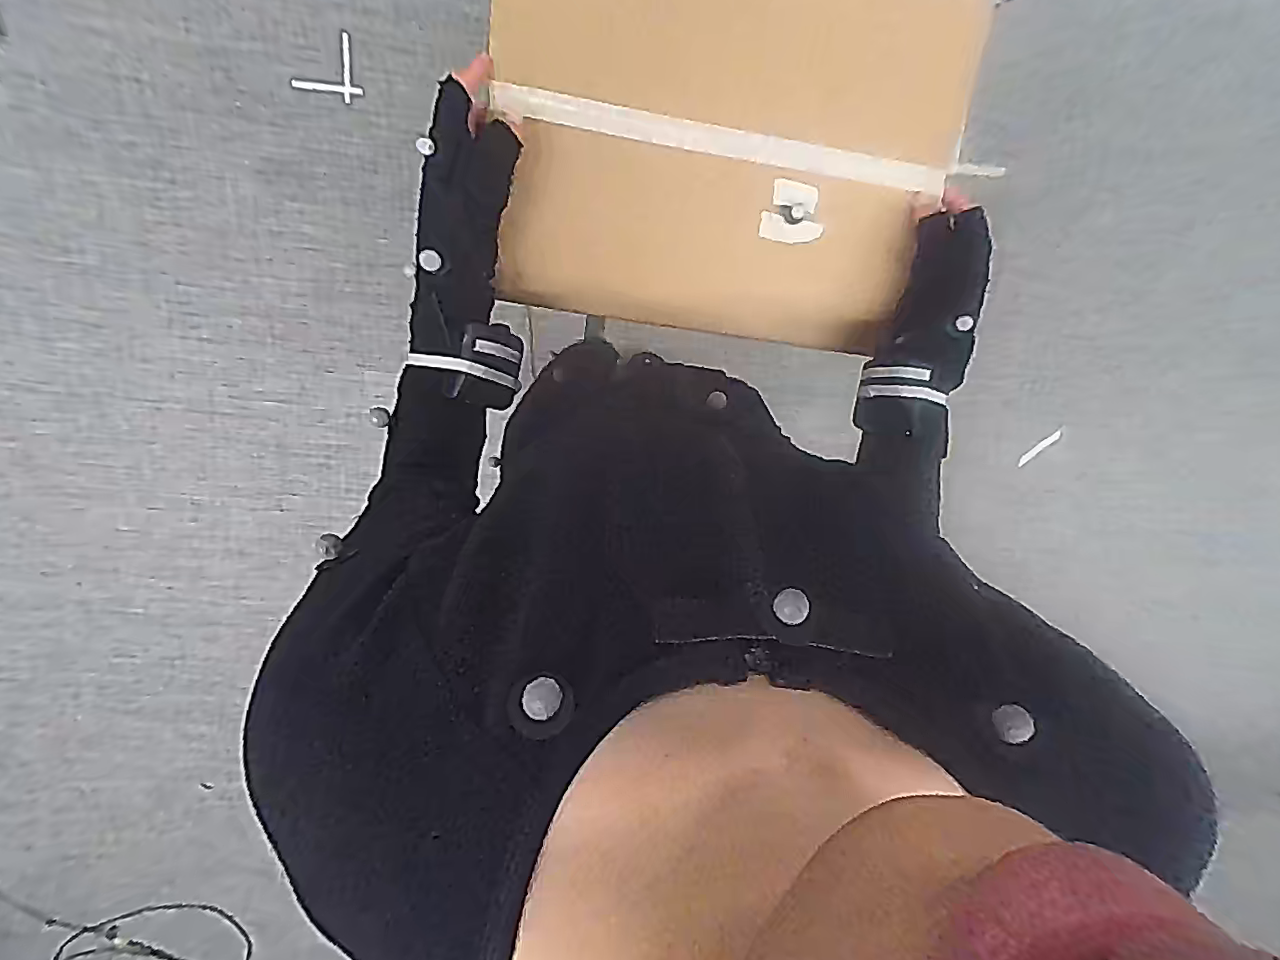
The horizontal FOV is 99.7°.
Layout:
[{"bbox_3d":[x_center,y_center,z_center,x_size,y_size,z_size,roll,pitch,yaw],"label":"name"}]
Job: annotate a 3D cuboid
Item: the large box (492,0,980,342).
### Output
[{"bbox_3d":[0.059,-0.347,0.613,0.408,0.320,0.320,5,109,-9],"label":"large box"}]
